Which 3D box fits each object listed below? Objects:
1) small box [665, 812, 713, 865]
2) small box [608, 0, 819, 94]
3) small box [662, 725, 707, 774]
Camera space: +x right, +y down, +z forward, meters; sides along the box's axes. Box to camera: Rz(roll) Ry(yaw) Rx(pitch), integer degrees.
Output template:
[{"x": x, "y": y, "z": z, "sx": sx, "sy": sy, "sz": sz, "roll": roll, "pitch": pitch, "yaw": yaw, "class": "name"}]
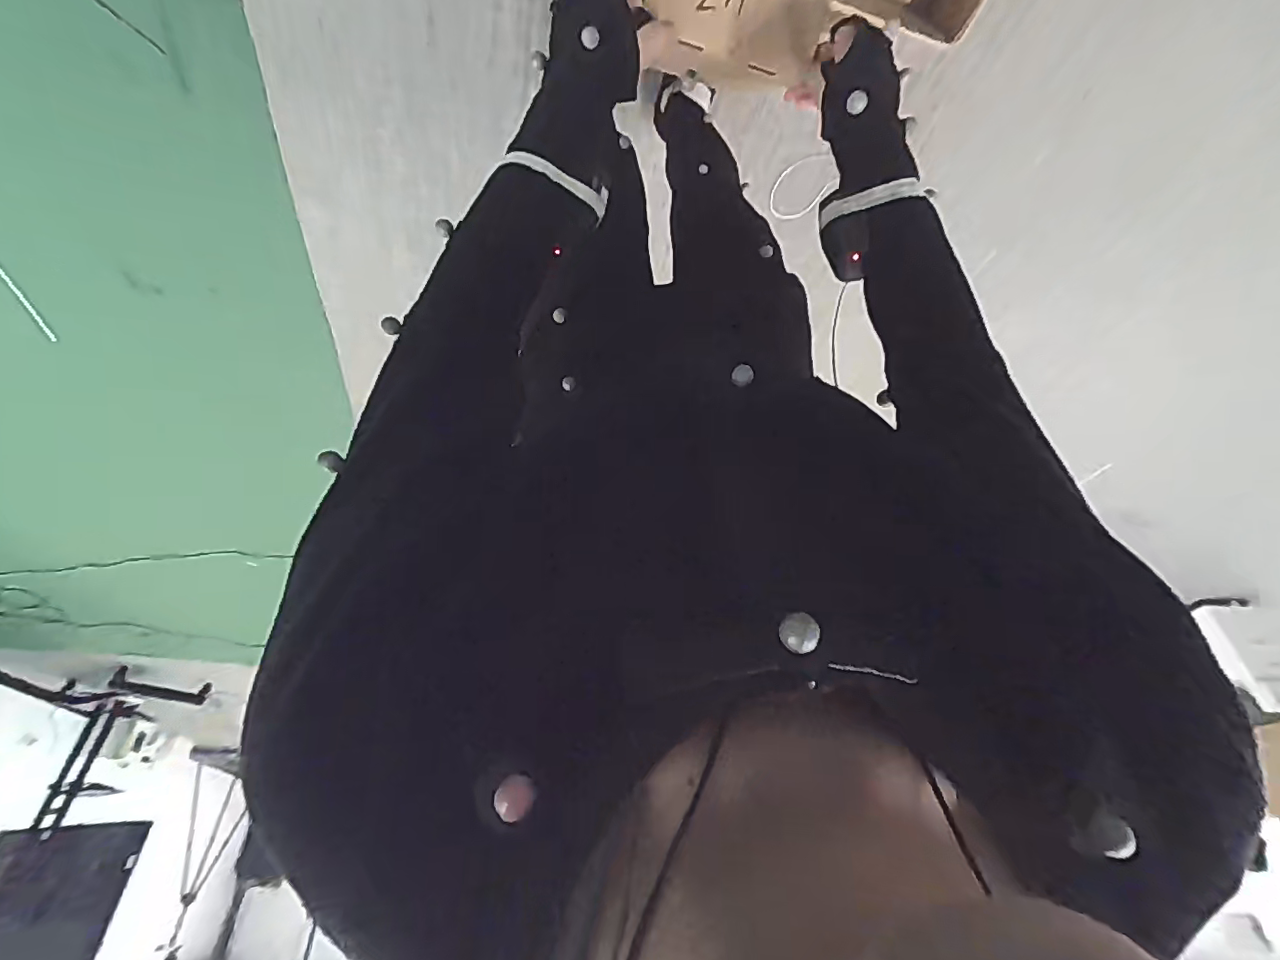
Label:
[{"x": 0.190, "y": 1.424, "z": 2.146, "sx": 0.168, "sy": 0.176, "sz": 0.179, "roll": 3, "pitch": 144, "yaw": -2, "class": "small box"}, {"x": 0.073, "y": -0.500, "z": 0.516, "sx": 0.168, "sy": 0.176, "sz": 0.179, "roll": 7, "pitch": 119, "yaw": -16, "class": "small box"}, {"x": 0.191, "y": 1.183, "z": 2.369, "sx": 0.168, "sy": 0.176, "sz": 0.179, "roll": 6, "pitch": 144, "yaw": -6, "class": "small box"}]
